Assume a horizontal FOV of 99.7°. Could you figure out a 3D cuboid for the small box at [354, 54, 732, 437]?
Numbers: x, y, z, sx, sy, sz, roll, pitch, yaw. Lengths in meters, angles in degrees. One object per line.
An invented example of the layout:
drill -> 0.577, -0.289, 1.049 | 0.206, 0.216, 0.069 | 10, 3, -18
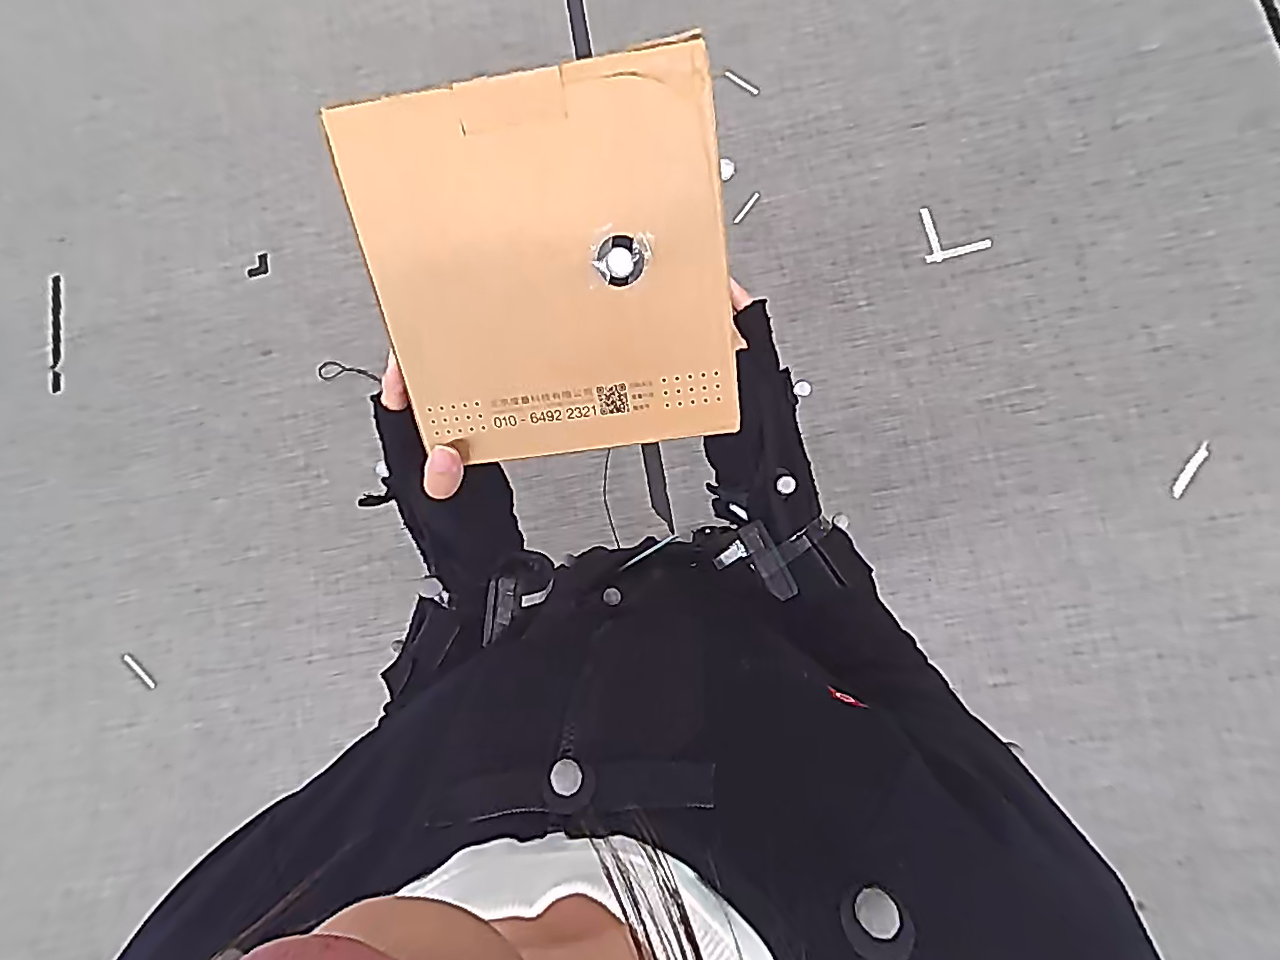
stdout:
small box -> -0.034, -0.130, 0.344 | 0.168, 0.179, 0.176 | -6, 114, 7
